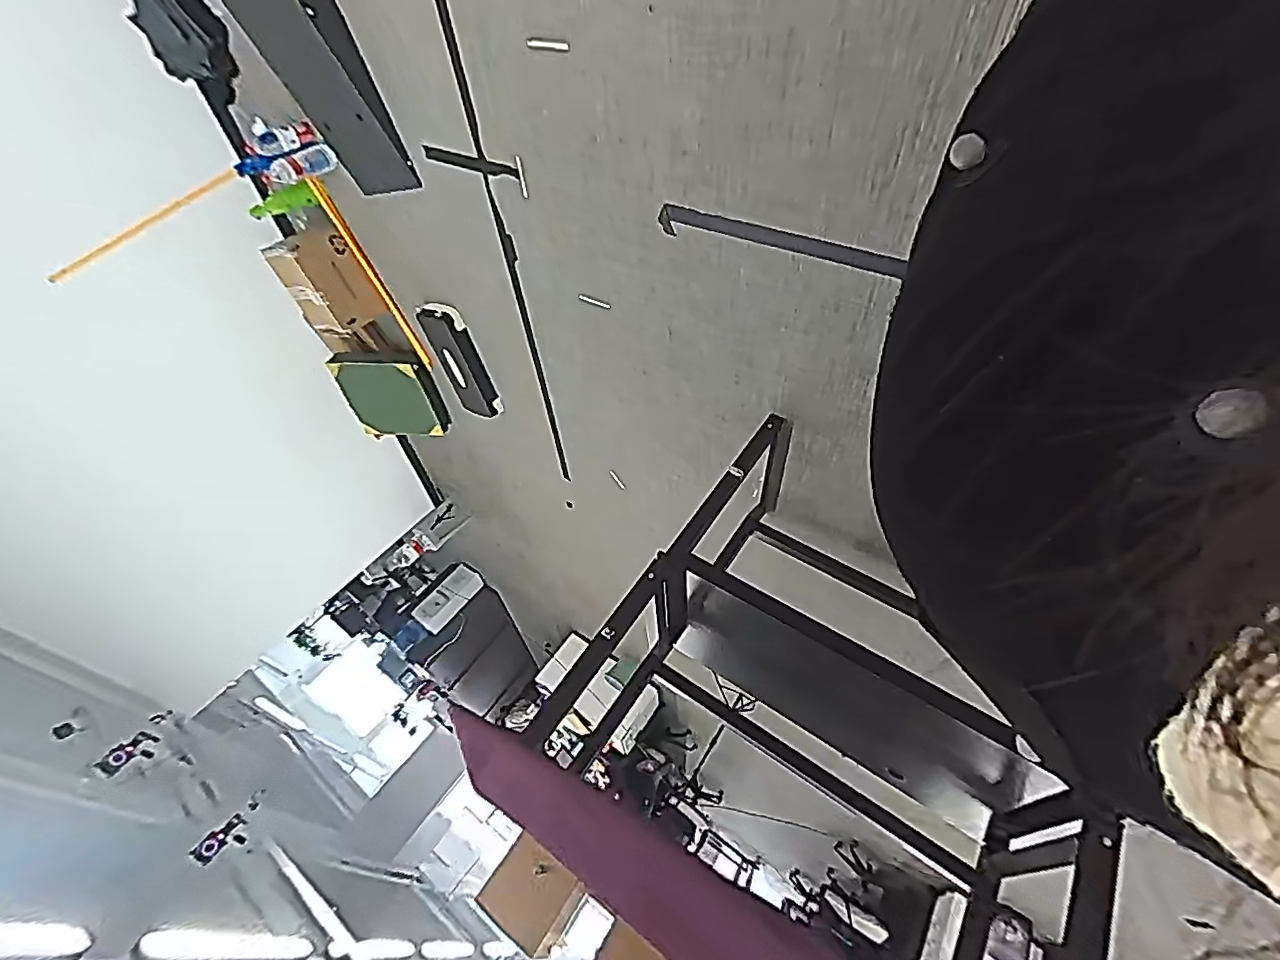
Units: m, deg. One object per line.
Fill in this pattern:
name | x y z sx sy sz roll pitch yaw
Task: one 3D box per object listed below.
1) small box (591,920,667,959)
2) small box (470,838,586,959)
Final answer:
small box | -0.027 1.081 1.152 0.179 0.176 0.168 27 147 23
small box | -0.248 0.951 1.232 0.179 0.176 0.168 26 147 26
